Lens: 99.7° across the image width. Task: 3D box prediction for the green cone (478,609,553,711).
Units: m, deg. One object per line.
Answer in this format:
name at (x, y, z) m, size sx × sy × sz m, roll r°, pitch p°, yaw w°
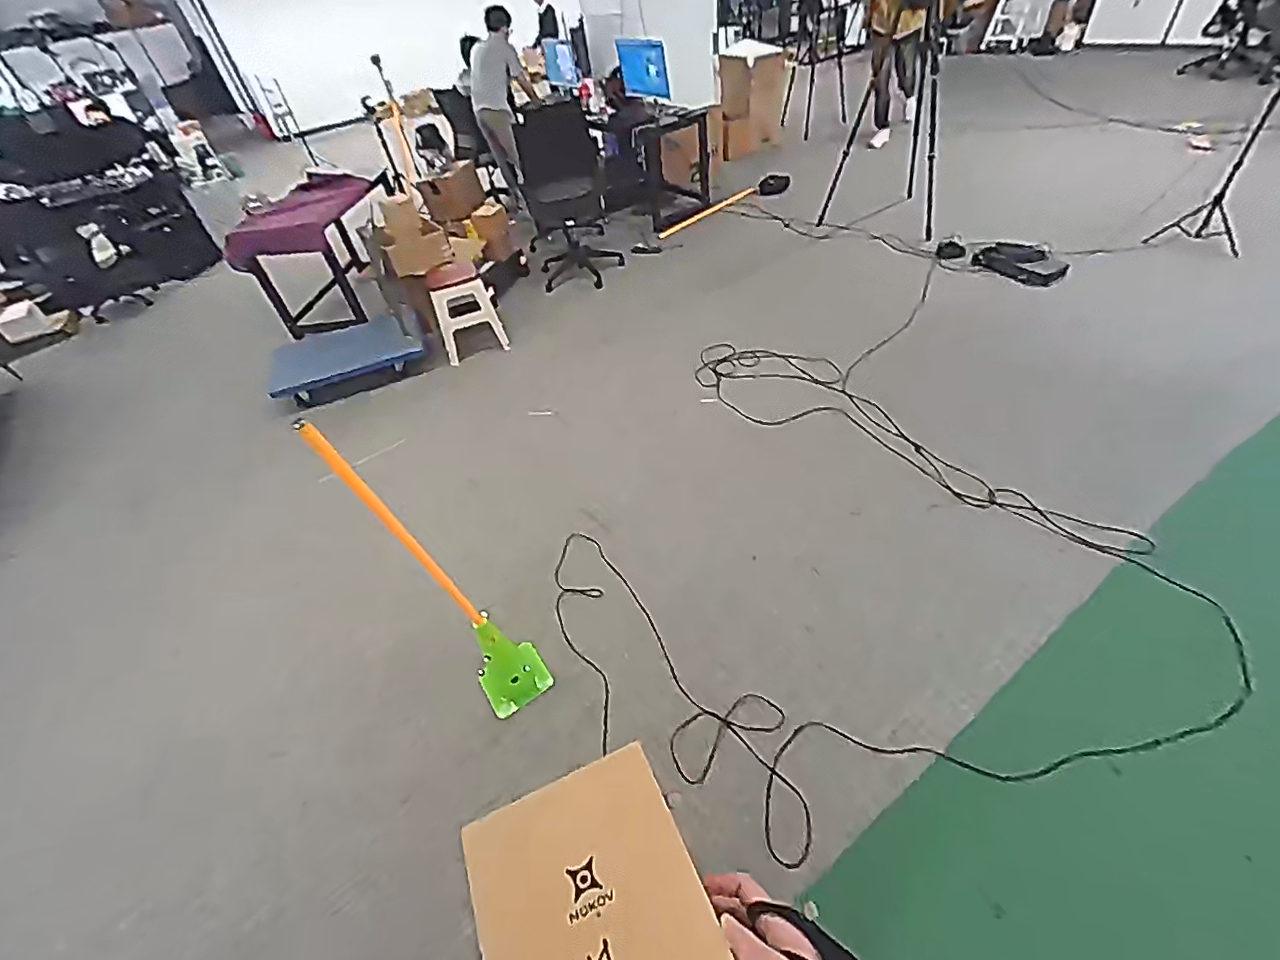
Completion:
green cone at (-0.431, 0.517, 1.670) m, size 0.202 × 0.368 × 0.200 m, roll -29°, pitch 48°, yaw -21°
